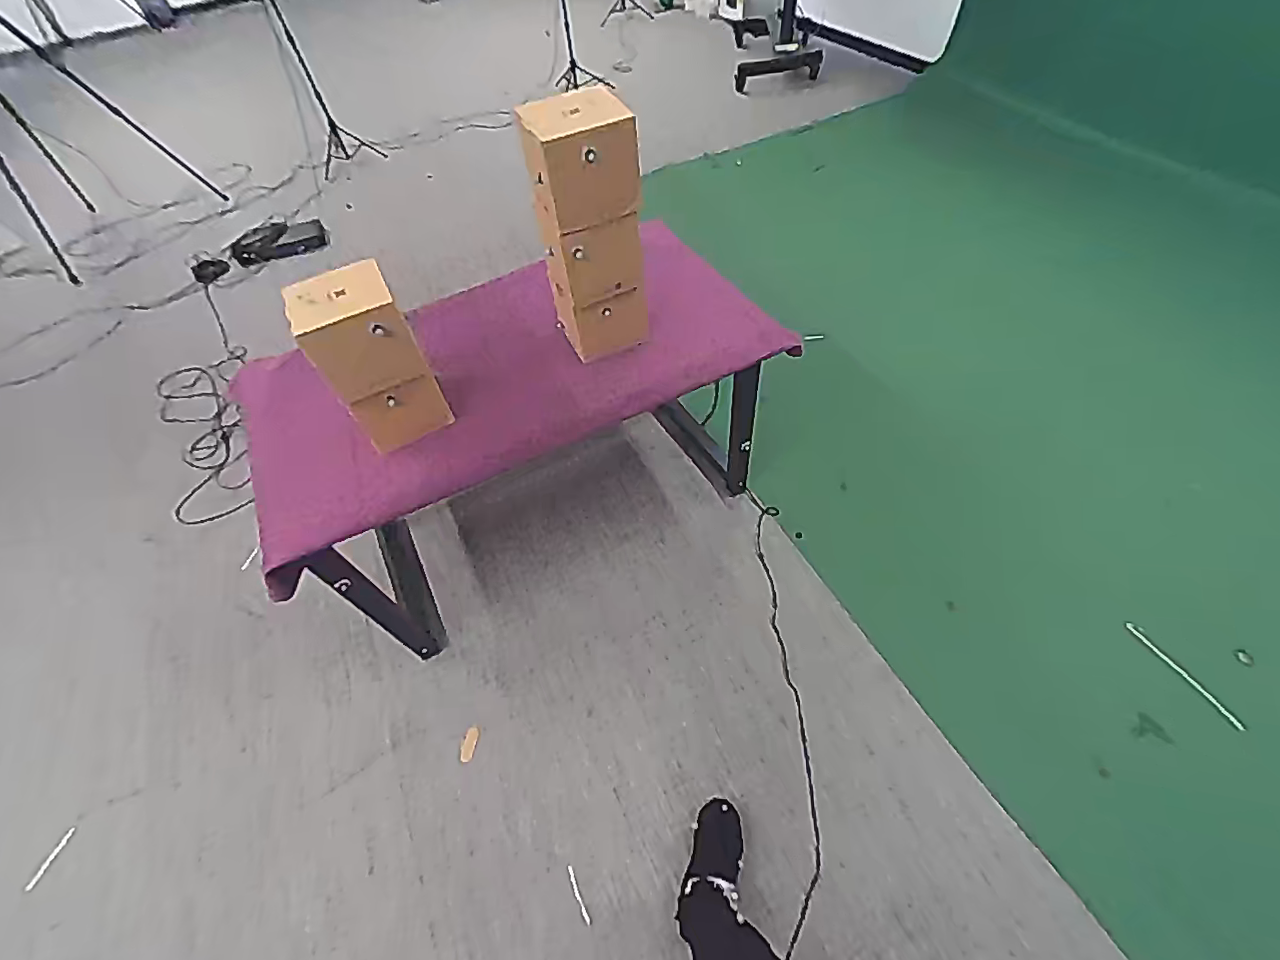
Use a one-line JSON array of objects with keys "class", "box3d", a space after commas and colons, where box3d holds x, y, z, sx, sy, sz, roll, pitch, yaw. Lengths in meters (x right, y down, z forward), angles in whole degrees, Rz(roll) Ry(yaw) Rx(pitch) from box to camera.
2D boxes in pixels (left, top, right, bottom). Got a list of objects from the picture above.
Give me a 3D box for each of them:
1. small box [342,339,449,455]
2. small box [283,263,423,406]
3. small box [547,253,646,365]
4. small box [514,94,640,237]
[{"class": "small box", "box3d": [-0.532, -0.186, 1.169, 0.179, 0.176, 0.168, -27, 57, -14]}, {"class": "small box", "box3d": [-0.535, -0.274, 1.028, 0.179, 0.176, 0.168, -26, 56, -13]}, {"class": "small box", "box3d": [-0.099, -0.403, 1.285, 0.179, 0.176, 0.168, -23, 55, -12]}, {"class": "small box", "box3d": [-0.113, -0.584, 1.012, 0.179, 0.176, 0.168, -21, 56, -11]}]
